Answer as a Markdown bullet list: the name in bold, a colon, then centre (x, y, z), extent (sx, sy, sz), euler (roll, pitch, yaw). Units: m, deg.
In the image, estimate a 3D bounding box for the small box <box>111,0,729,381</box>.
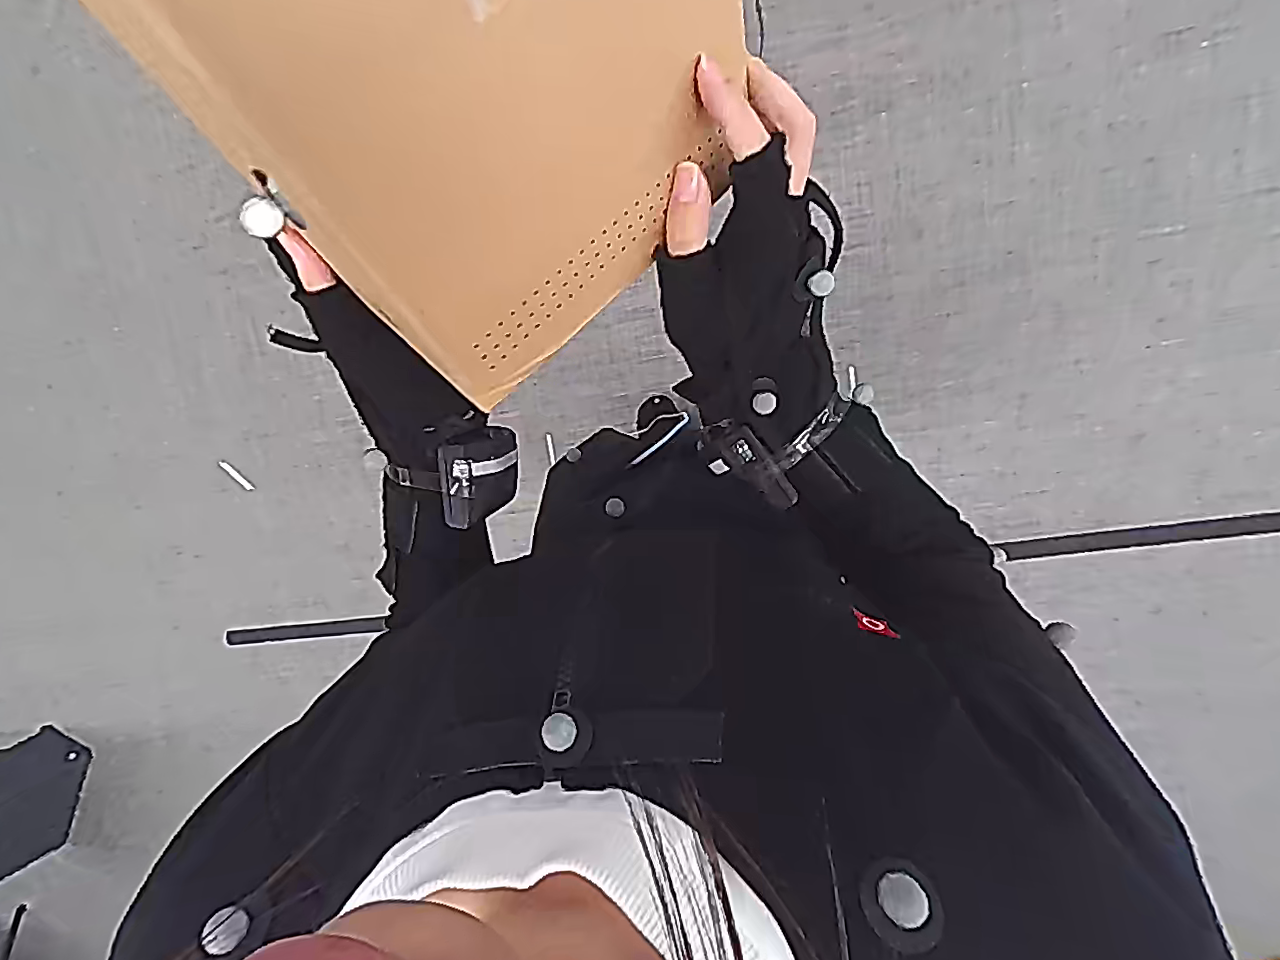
- **small box**: centre (-0.076, -0.176, 0.235), extent (0.168, 0.176, 0.179), euler (38, 77, 28)
